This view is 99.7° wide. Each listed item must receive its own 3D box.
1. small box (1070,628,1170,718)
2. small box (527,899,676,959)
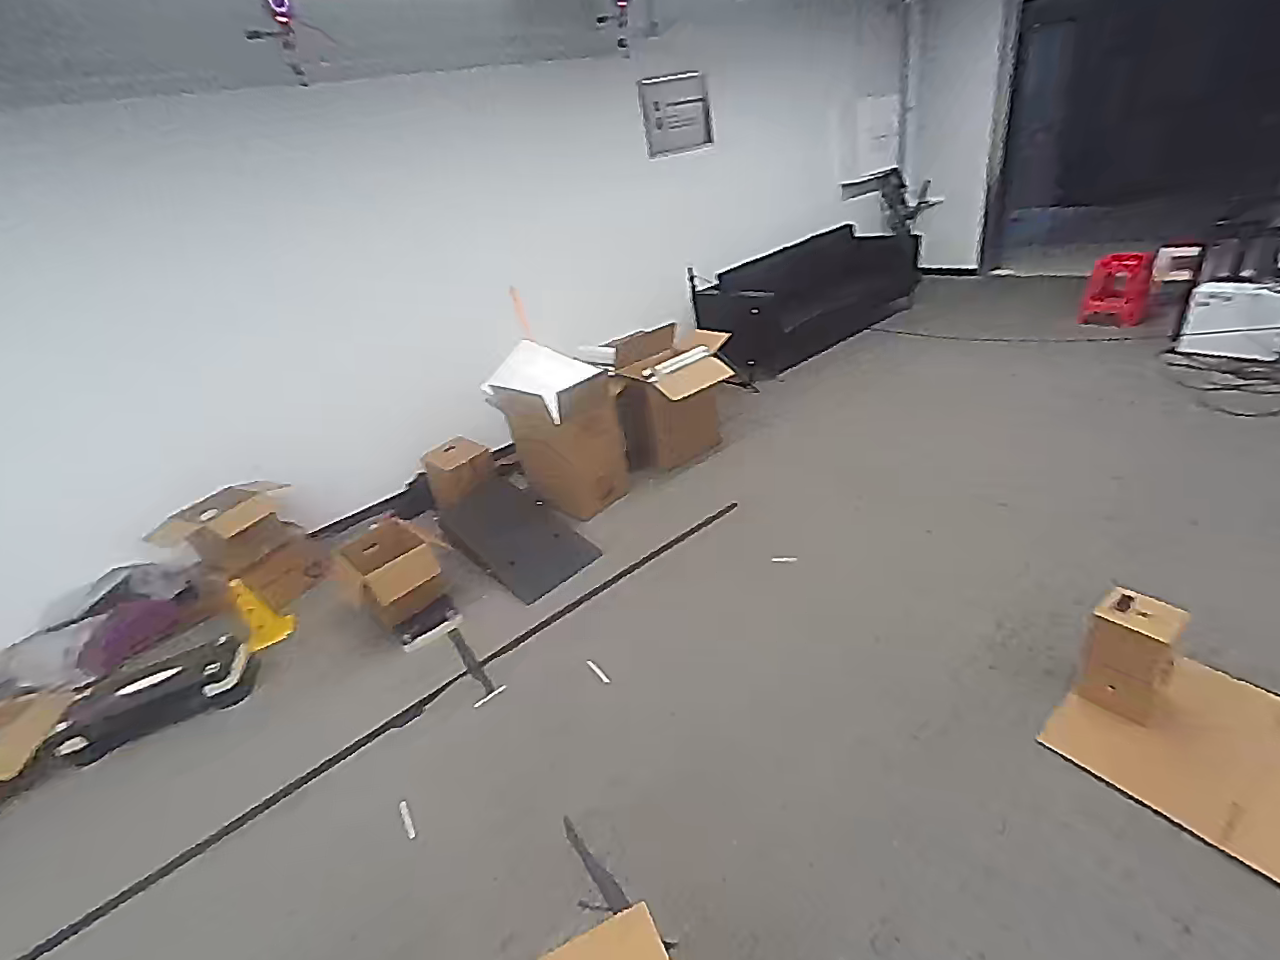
[{"bbox_3d":[1.477,0.601,1.672,0.168,0.176,0.179,-27,31,-26],"label":"small box"},{"bbox_3d":[-0.024,0.581,0.528,0.179,0.176,0.168,-17,1,-16],"label":"small box"}]
